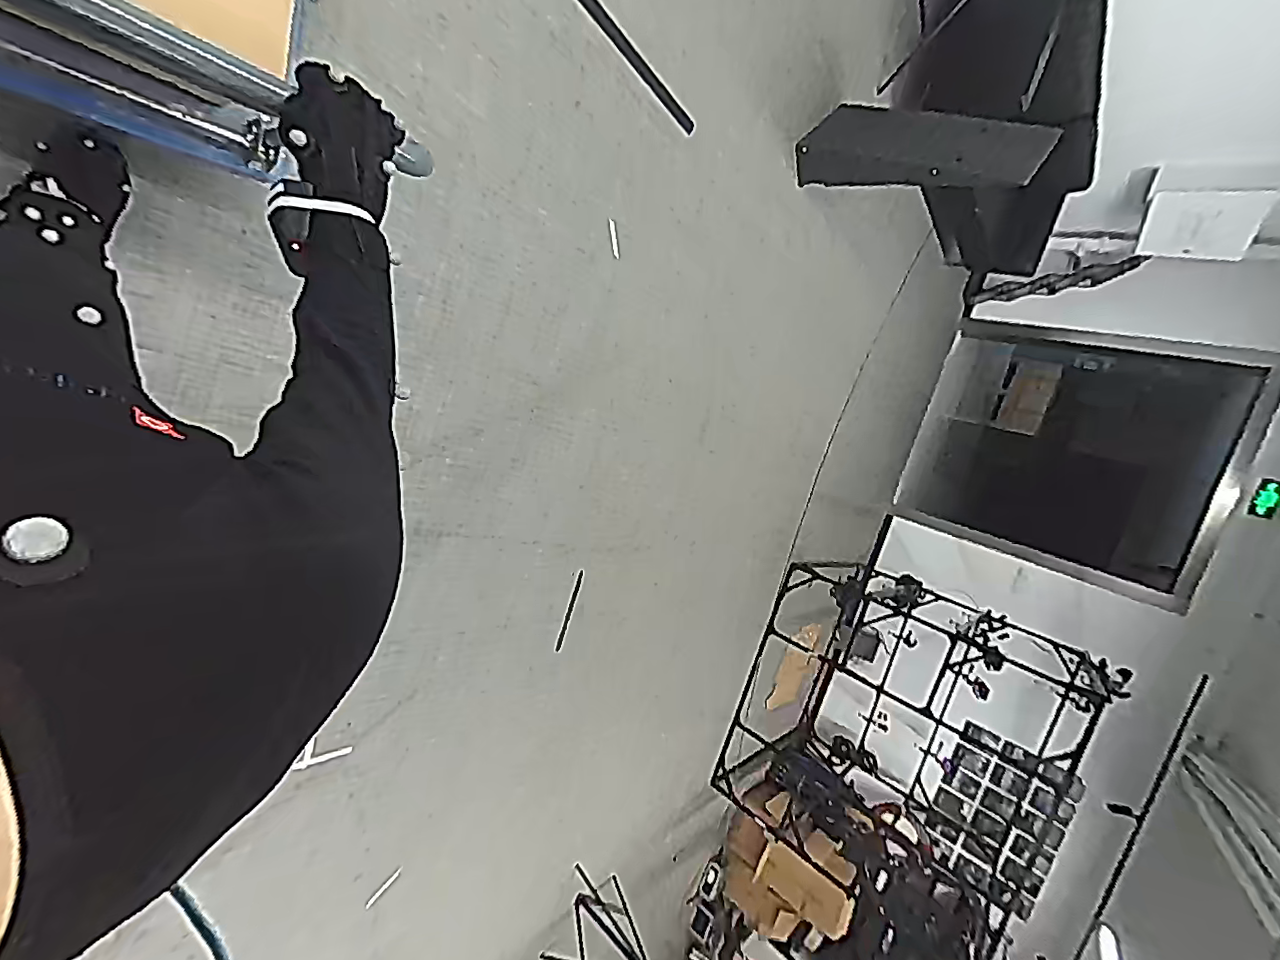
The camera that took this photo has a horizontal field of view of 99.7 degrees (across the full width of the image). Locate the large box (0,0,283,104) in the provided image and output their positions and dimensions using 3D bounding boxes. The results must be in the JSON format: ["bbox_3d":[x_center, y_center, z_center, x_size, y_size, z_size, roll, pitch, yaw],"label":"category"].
[{"bbox_3d":[-0.716,-0.741,0.664,0.408,0.320,0.320,-1,109,-52],"label":"large box"}]
